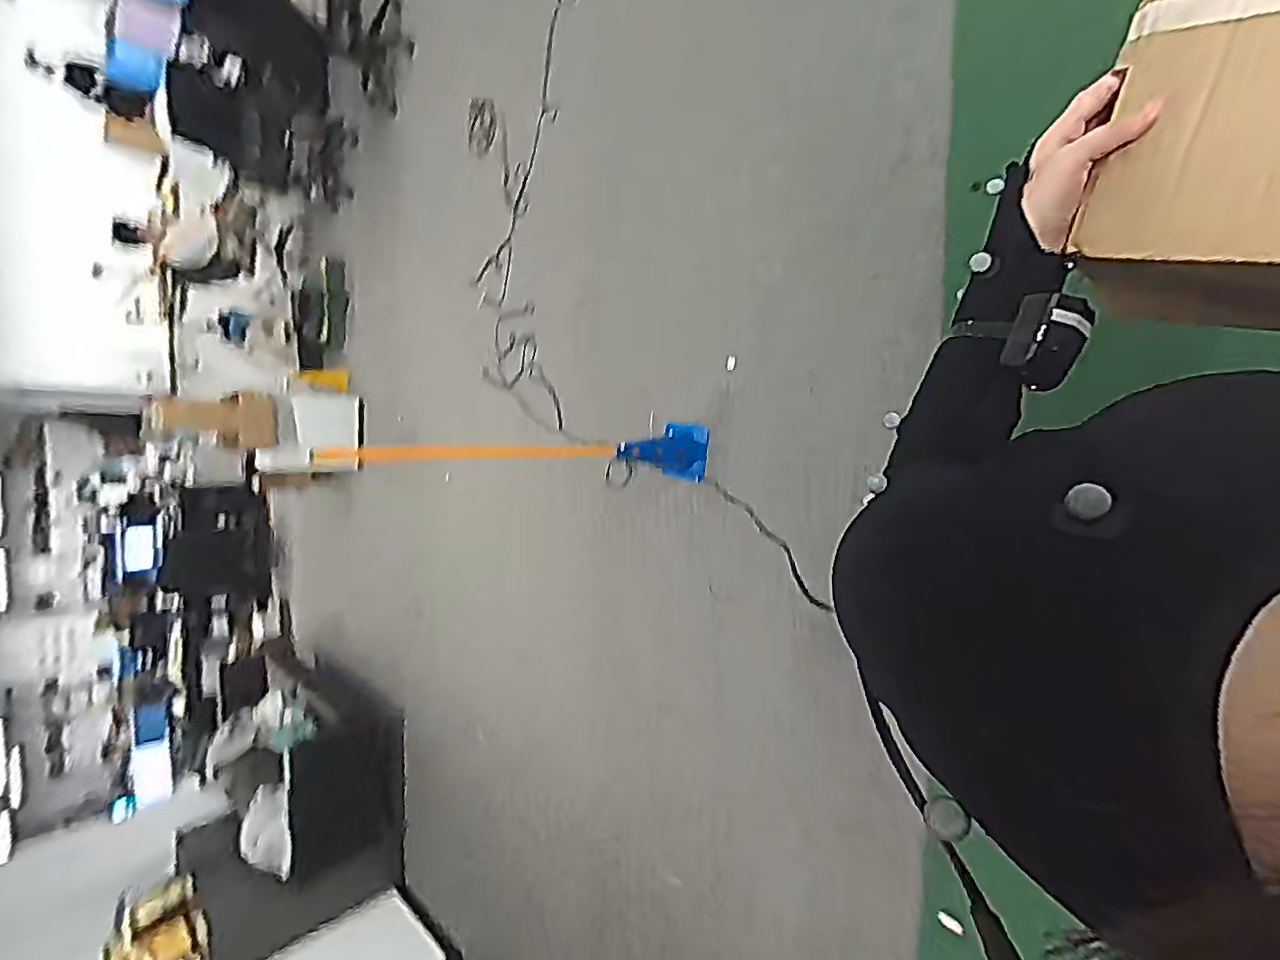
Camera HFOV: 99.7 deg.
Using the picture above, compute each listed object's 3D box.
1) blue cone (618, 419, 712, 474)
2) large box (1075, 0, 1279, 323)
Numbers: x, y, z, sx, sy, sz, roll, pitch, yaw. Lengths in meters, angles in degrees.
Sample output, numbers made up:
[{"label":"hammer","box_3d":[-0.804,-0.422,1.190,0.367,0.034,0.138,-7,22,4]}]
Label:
[{"label":"blue cone","box_3d":[0.061,-0.117,1.834,0.192,0.380,0.193,16,103,41]},{"label":"large box","box_3d":[0.596,-0.277,0.356,0.408,0.320,0.320,22,110,42]}]
